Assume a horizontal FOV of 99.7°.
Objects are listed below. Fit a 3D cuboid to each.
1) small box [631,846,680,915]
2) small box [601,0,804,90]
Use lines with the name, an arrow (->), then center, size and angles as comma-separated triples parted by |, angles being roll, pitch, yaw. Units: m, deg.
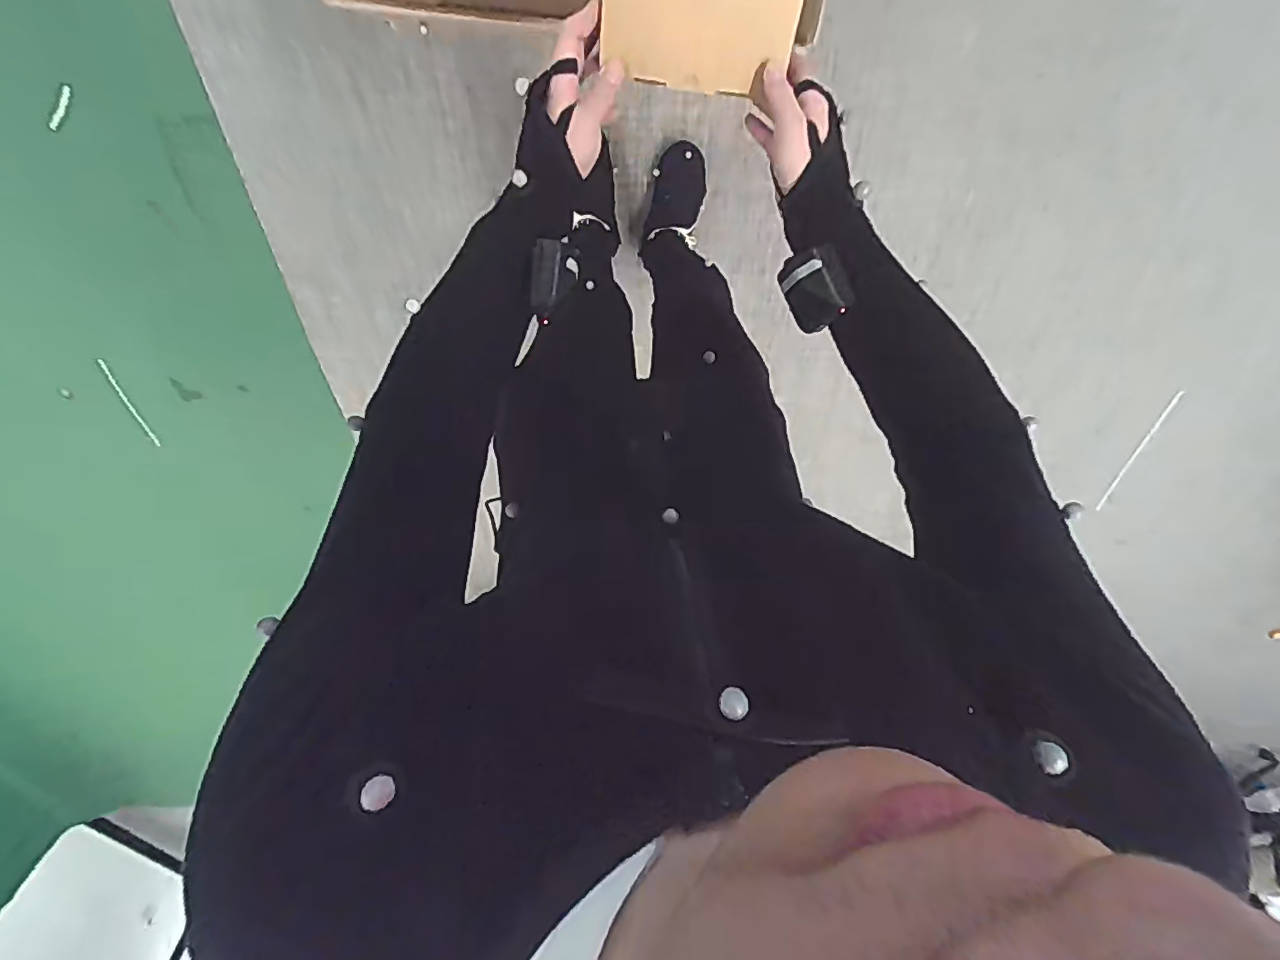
small box -> 0.056, 1.441, 1.948 | 0.168, 0.176, 0.179 | -3, 130, 4
small box -> 0.056, -0.473, 0.474 | 0.168, 0.176, 0.179 | 5, 135, -4
